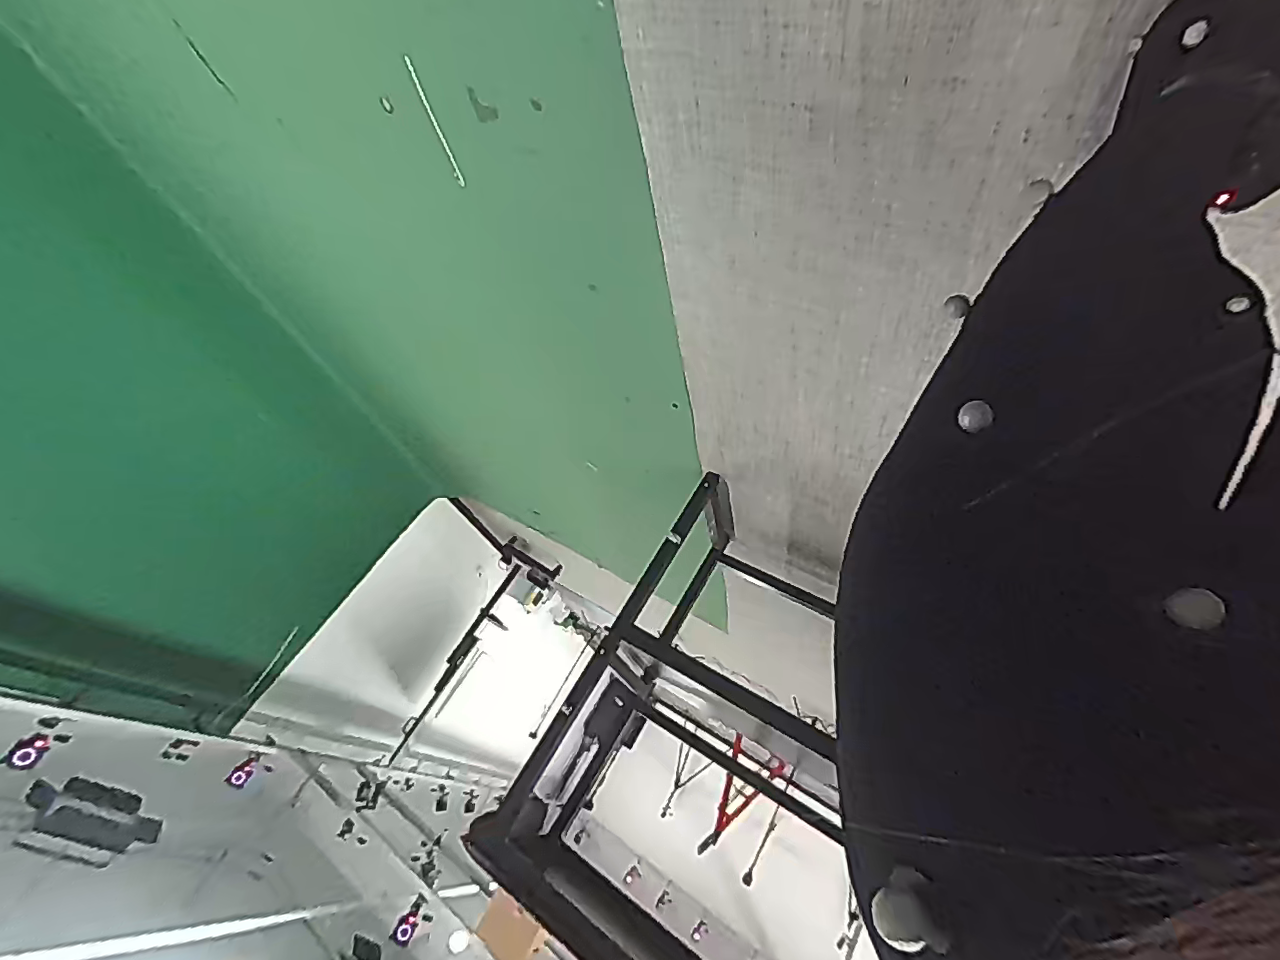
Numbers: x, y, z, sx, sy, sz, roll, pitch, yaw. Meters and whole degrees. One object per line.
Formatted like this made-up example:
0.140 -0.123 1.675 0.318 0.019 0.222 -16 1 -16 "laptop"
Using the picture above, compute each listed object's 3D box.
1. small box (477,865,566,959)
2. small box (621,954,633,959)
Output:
-0.343 1.287 1.609 0.168 0.176 0.179 24 155 22 "small box"
-0.023 1.423 1.443 0.168 0.176 0.179 25 157 23 "small box"
